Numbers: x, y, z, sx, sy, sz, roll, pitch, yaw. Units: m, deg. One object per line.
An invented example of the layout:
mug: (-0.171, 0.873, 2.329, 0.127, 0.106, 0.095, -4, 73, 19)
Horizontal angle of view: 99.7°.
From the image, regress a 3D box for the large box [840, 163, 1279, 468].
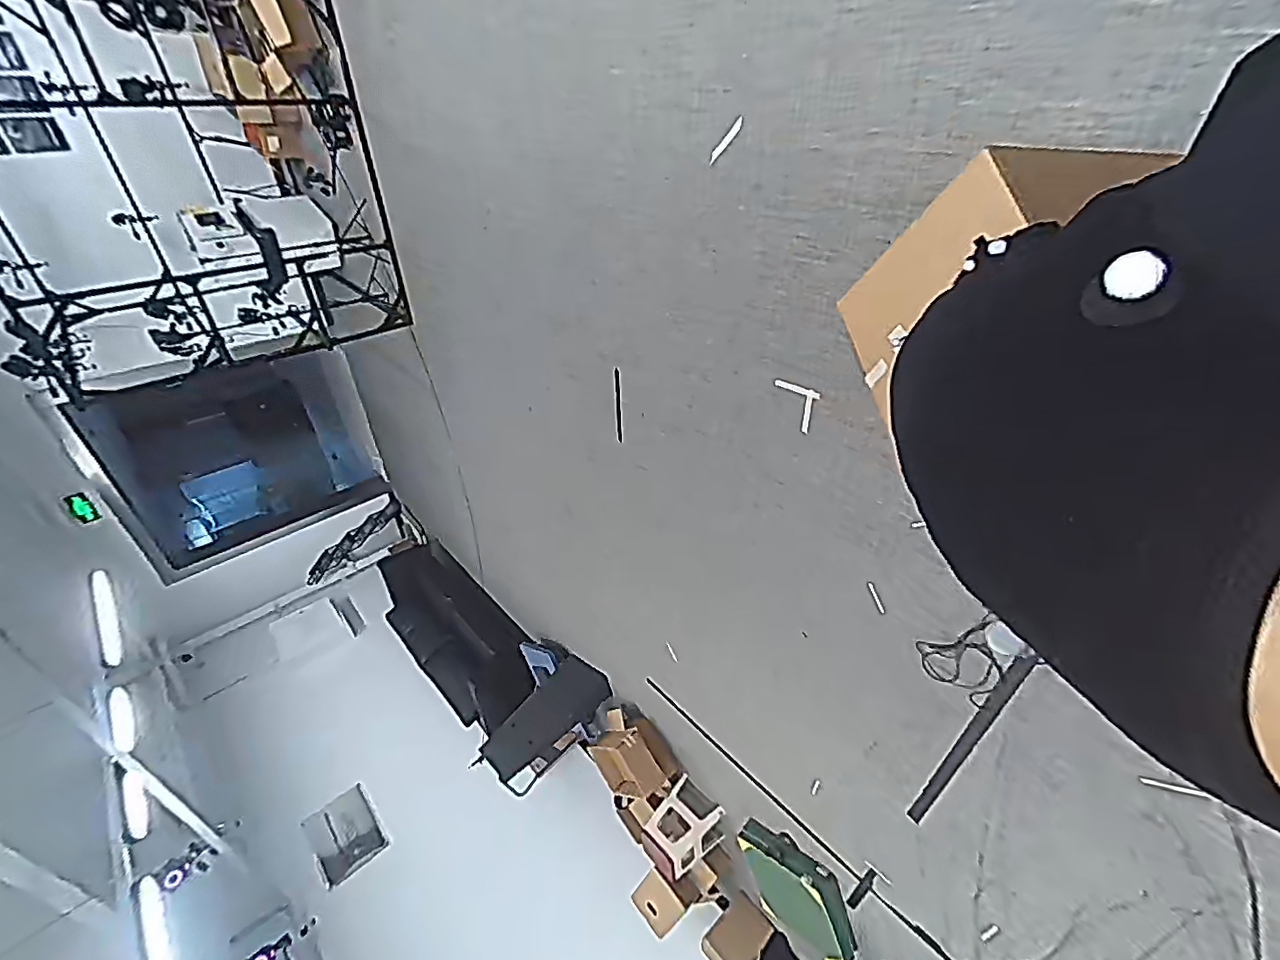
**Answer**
large box: (0.602, -0.238, 0.832, 0.320, 0.408, 0.320, 131, 127, -66)
